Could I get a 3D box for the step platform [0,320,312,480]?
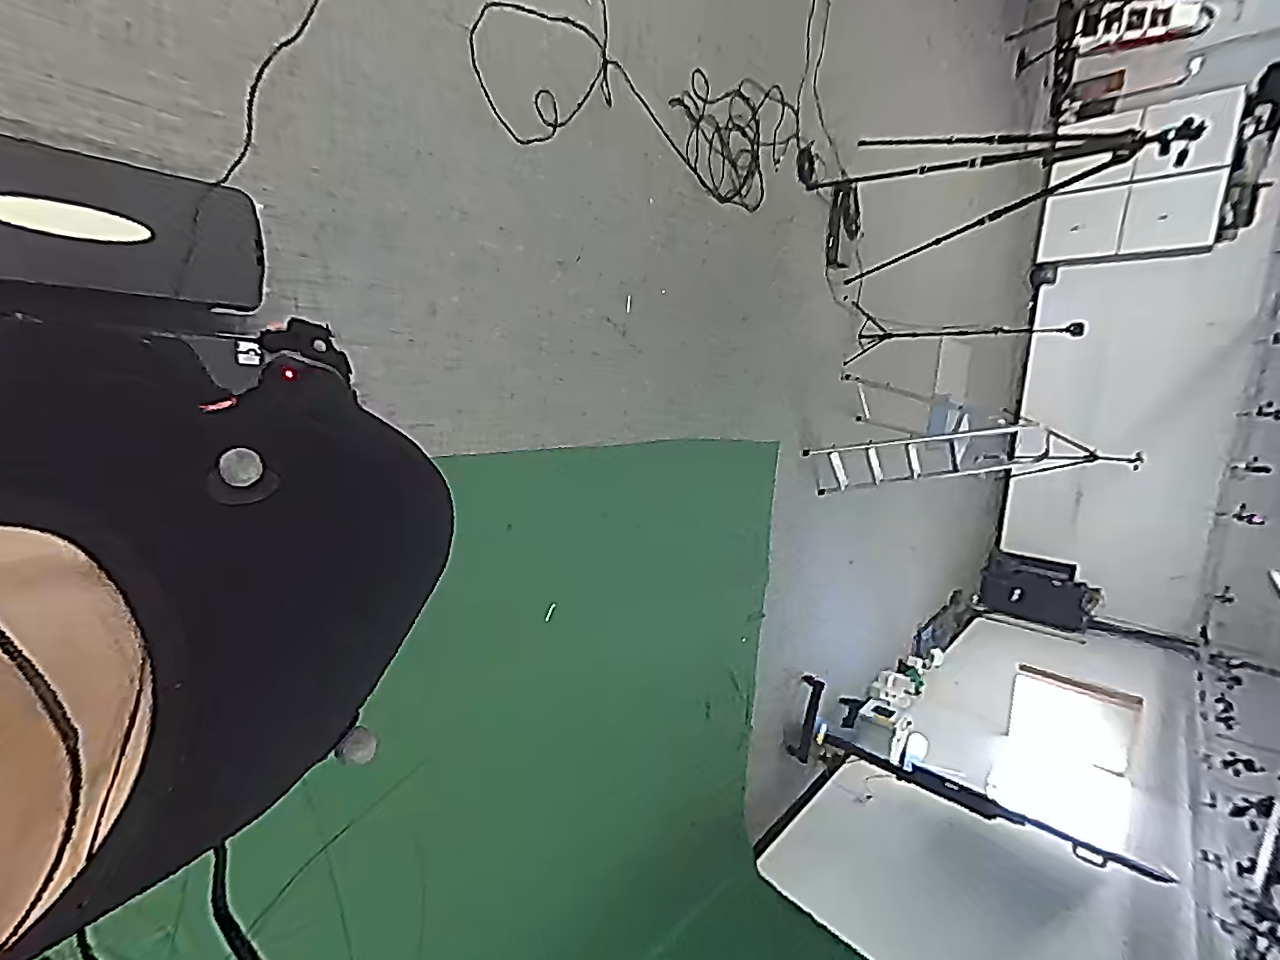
[{"bbox_3d":[-1.015,-0.141,0.990,0.684,0.204,0.286,-8,104,-47],"label":"step platform"}]
